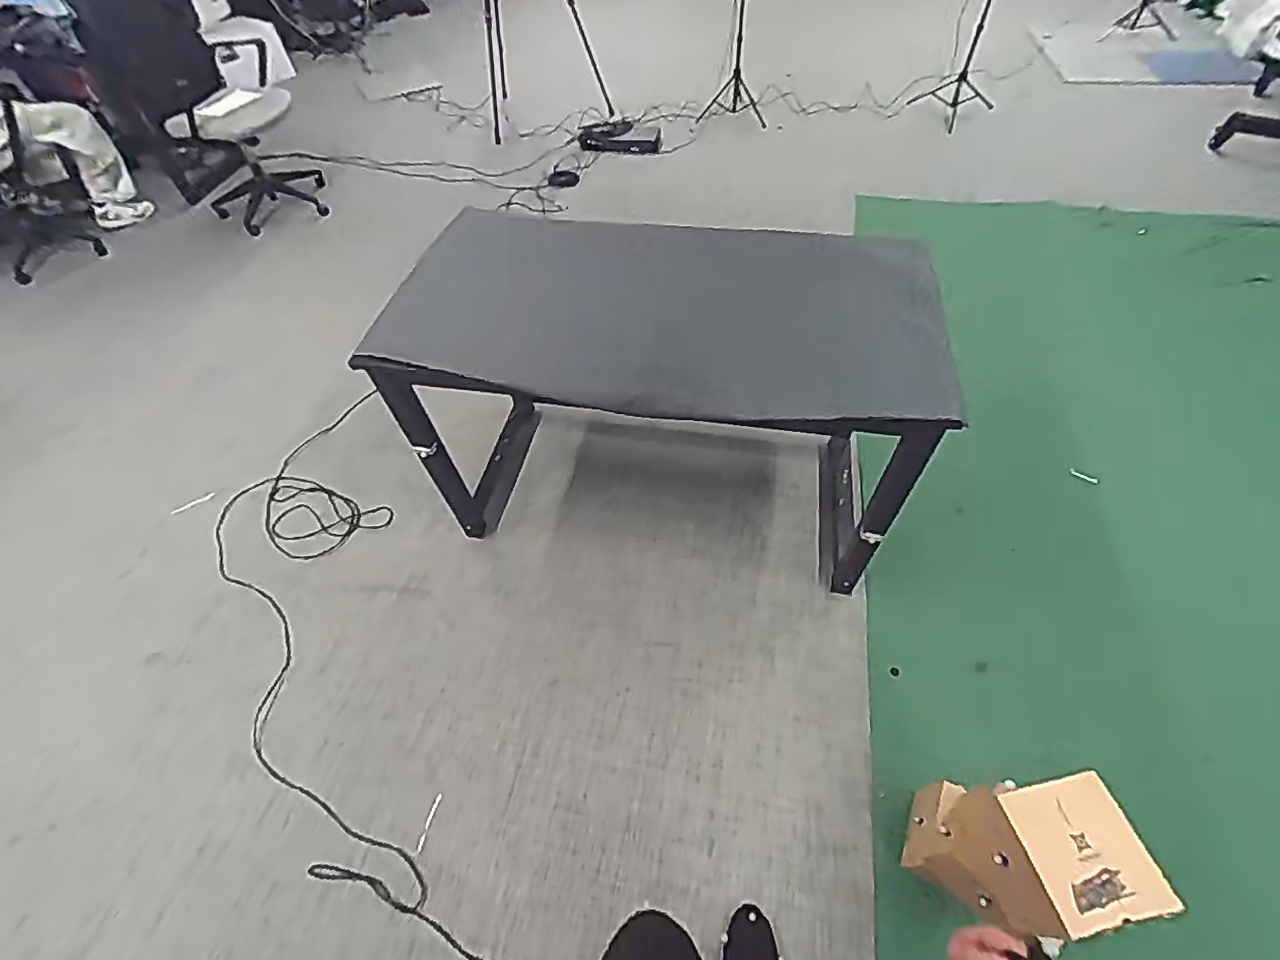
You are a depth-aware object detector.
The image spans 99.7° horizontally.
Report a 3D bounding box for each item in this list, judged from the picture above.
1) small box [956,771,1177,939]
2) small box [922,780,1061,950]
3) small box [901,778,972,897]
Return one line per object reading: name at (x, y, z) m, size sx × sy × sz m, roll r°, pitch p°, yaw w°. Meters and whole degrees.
small box at (0.634, 0.572, 0.833) m, size 0.168 × 0.176 × 0.179 m, roll -11°, pitch 53°, yaw -3°
small box at (0.642, 0.677, 0.961) m, size 0.168 × 0.176 × 0.179 m, roll -37°, pitch 60°, yaw -19°
small box at (0.663, 0.748, 1.108) m, size 0.179 × 0.176 × 0.168 m, roll 22°, pitch 59°, yaw 18°
